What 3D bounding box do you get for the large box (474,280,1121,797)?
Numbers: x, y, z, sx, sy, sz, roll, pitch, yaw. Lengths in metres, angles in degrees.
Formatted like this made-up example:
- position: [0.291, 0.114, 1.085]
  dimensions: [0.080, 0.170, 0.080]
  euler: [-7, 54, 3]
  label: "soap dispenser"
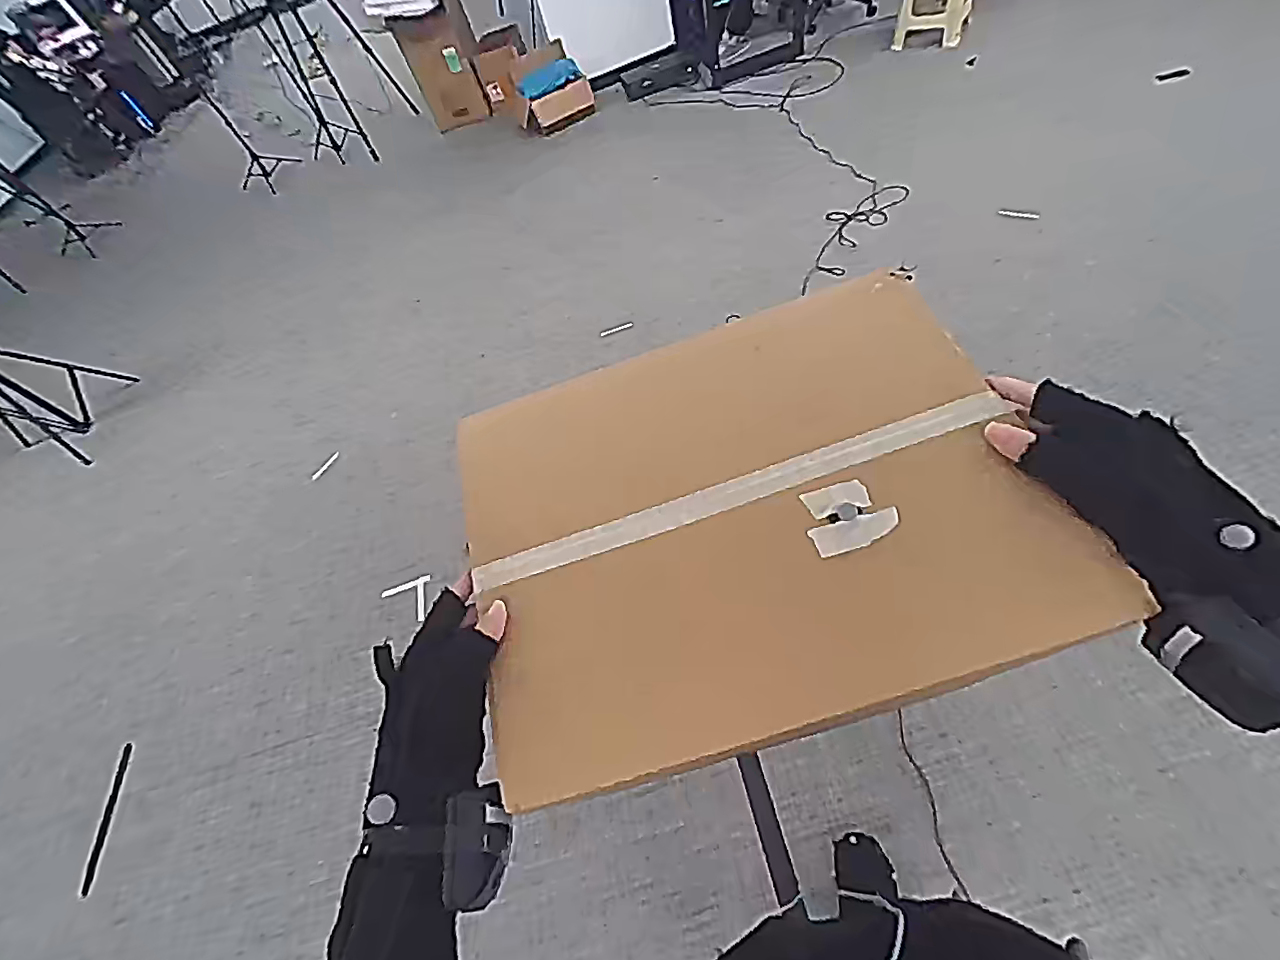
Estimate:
- position: [0.102, 0.081, 0.542]
  dimensions: [0.408, 0.320, 0.320]
  euler: [-19, 61, 3]
  label: "large box"
